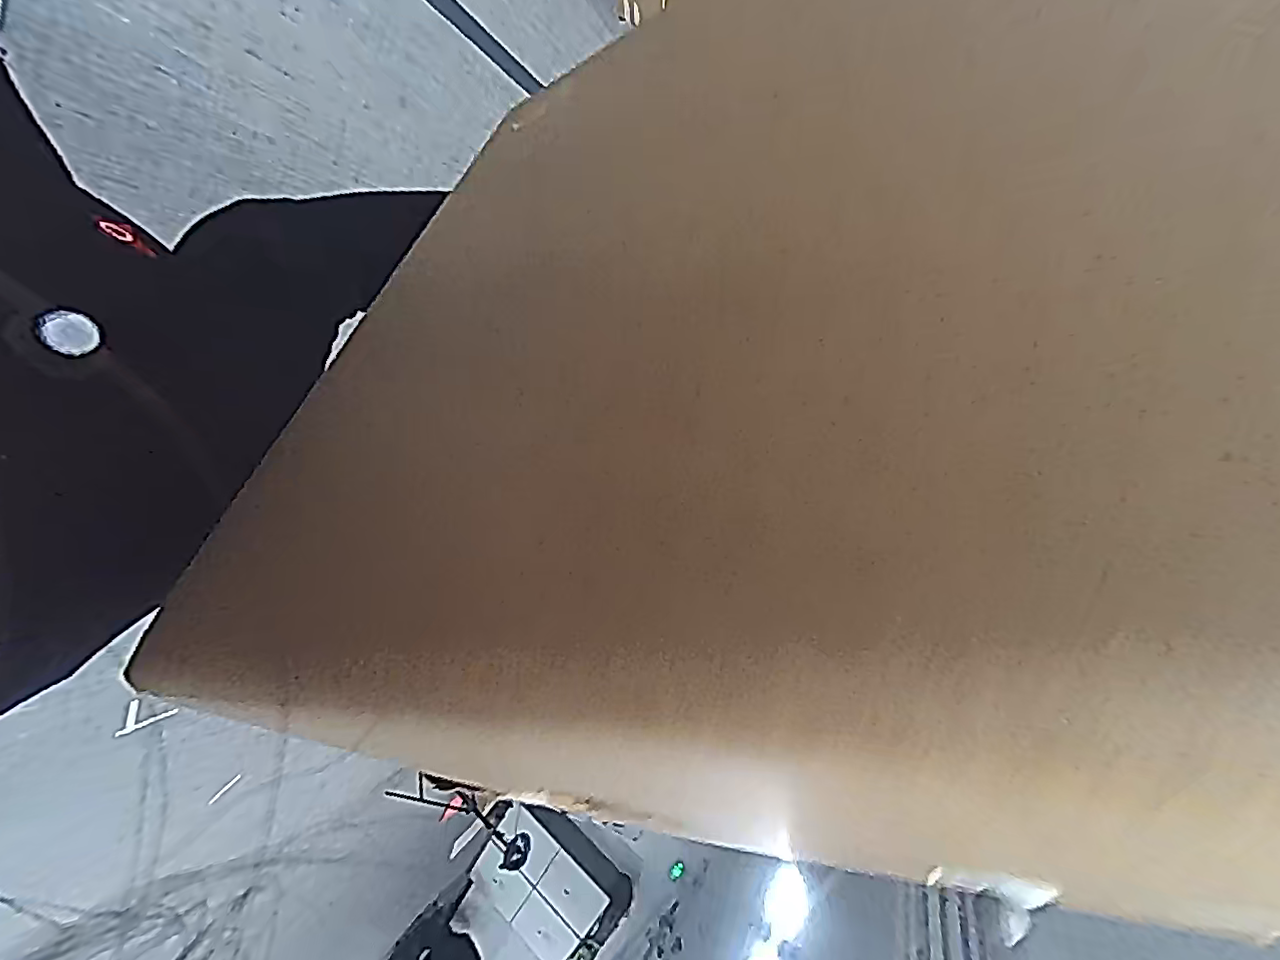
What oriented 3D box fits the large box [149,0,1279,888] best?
[{"bbox_3d":[0.079,-0.053,0.305,0.320,0.320,0.408,50,40,-42],"label":"large box"}]
